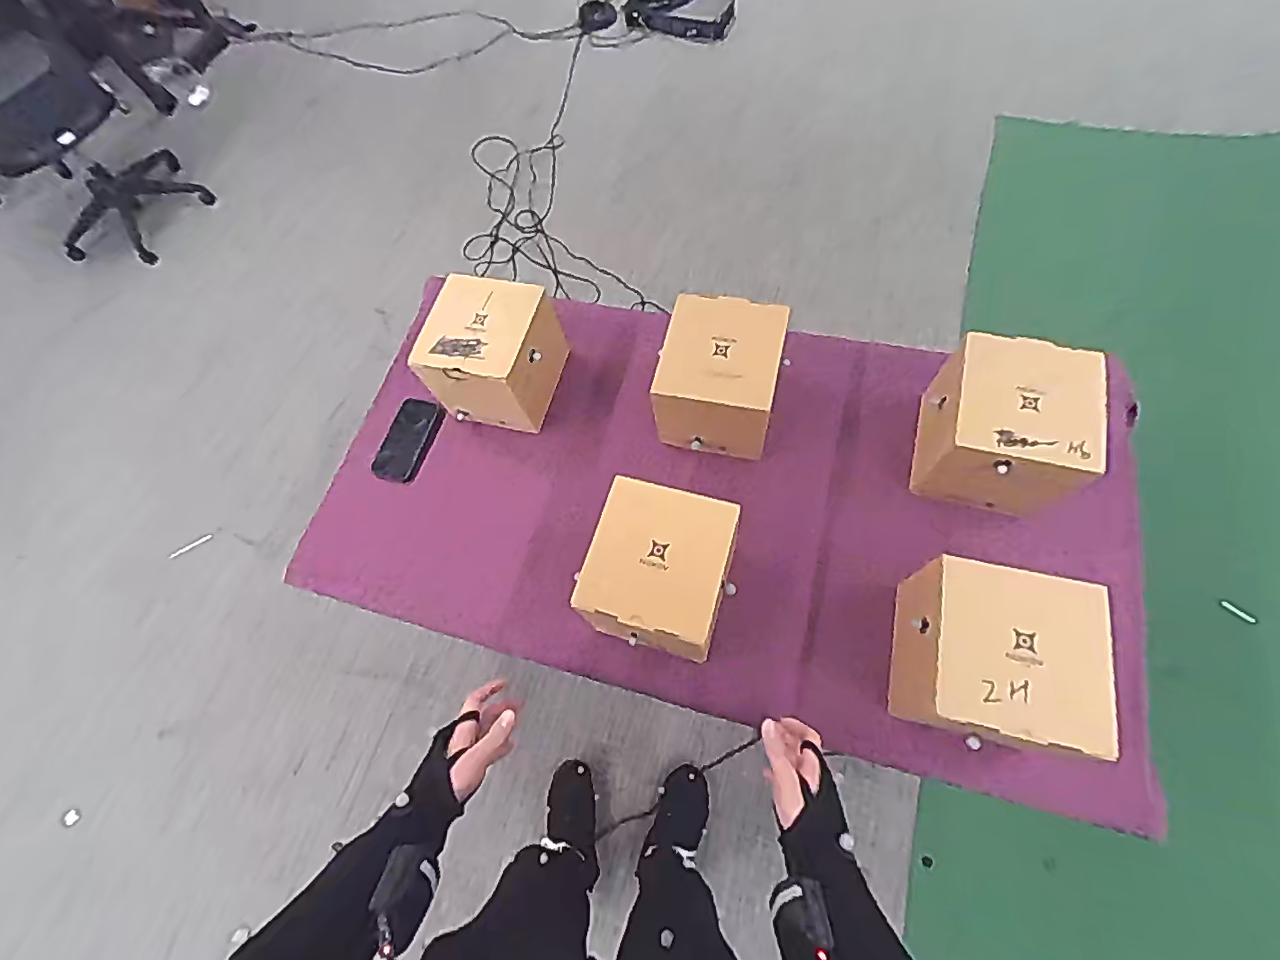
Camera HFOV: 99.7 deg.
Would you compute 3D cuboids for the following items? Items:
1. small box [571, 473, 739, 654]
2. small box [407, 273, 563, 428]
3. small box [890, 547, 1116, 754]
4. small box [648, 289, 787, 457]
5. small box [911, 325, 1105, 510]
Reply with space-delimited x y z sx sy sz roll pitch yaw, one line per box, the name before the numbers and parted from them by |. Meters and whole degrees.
small box | 0.027 0.117 0.720 0.168 0.176 0.179 13 69 12
small box | -0.239 -0.205 0.887 0.168 0.176 0.179 11 69 11
small box | 0.406 0.198 0.633 0.168 0.176 0.179 10 70 13
small box | 0.118 -0.158 0.823 0.168 0.176 0.179 11 70 12
small box | 0.490 -0.080 0.740 0.168 0.176 0.179 13 70 13
